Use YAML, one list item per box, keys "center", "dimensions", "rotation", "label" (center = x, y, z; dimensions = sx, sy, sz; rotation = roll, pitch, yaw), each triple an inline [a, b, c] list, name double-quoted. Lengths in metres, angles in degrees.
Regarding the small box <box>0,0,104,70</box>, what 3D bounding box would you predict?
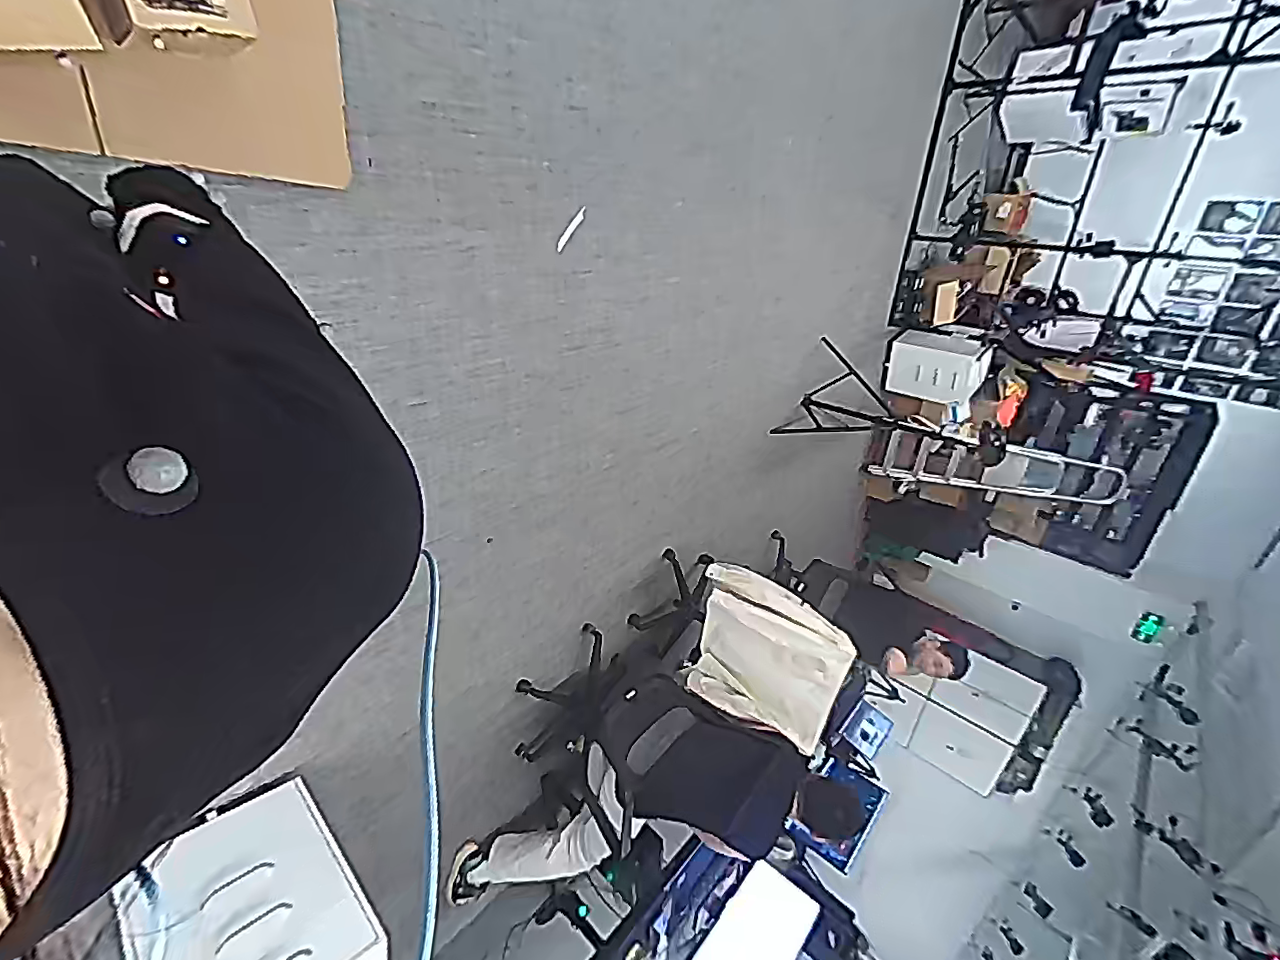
- center: [-0.886, -0.663, 0.722]
  dimensions: [0.179, 0.176, 0.168]
  rotation: [-35, 133, -36]
  label: "small box"
